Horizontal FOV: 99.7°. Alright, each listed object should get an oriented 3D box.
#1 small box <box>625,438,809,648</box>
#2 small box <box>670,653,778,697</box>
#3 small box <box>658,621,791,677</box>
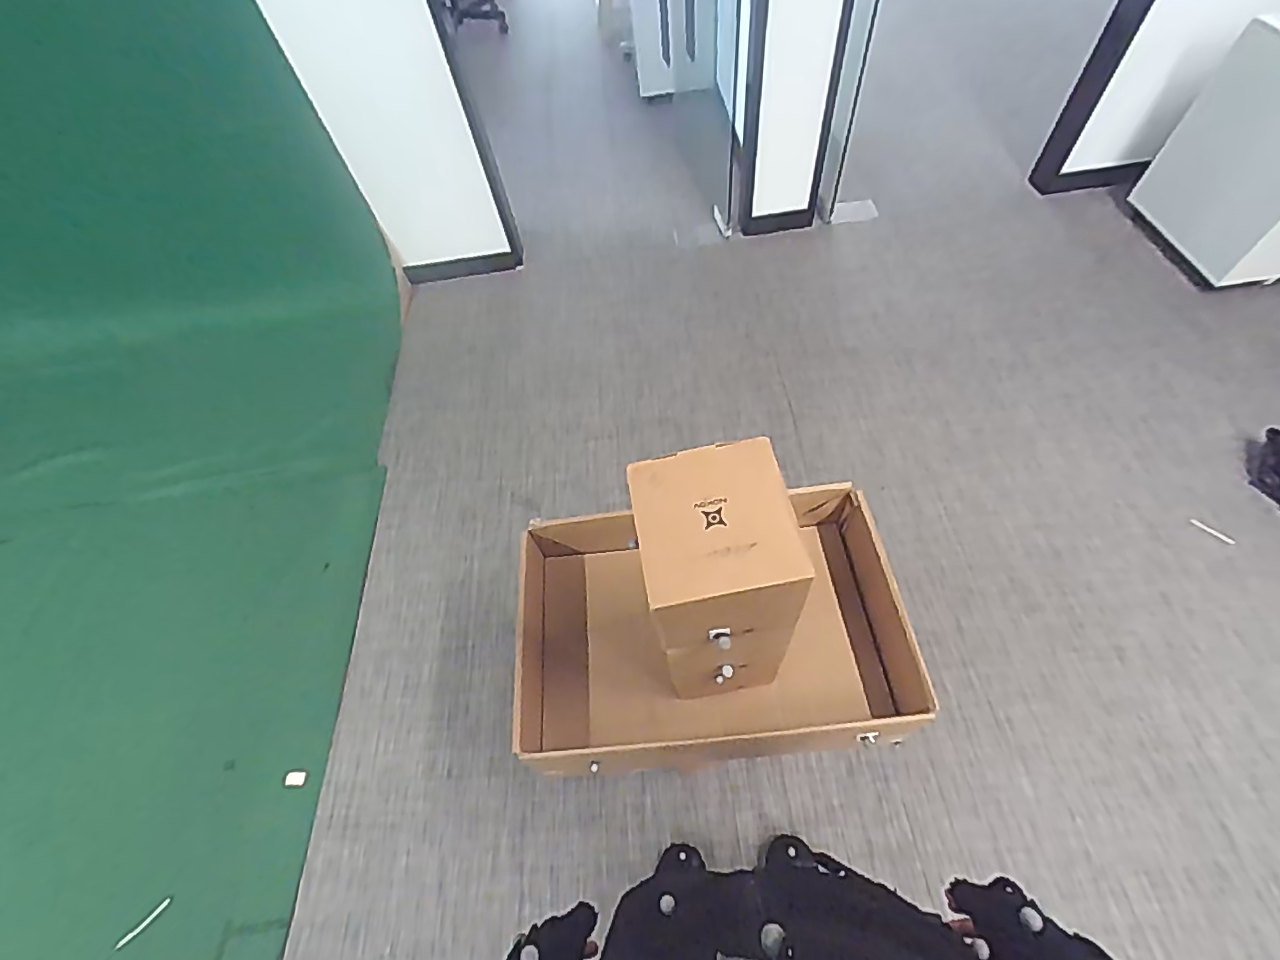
[{"bbox_3d":[0.084,0.080,0.640,0.168,0.176,0.179,-12,58,2],"label":"small box"},{"bbox_3d":[0.124,0.247,0.915,0.168,0.176,0.179,-12,56,2],"label":"small box"},{"bbox_3d":[0.103,0.165,0.776,0.168,0.176,0.179,-11,58,1],"label":"small box"}]
